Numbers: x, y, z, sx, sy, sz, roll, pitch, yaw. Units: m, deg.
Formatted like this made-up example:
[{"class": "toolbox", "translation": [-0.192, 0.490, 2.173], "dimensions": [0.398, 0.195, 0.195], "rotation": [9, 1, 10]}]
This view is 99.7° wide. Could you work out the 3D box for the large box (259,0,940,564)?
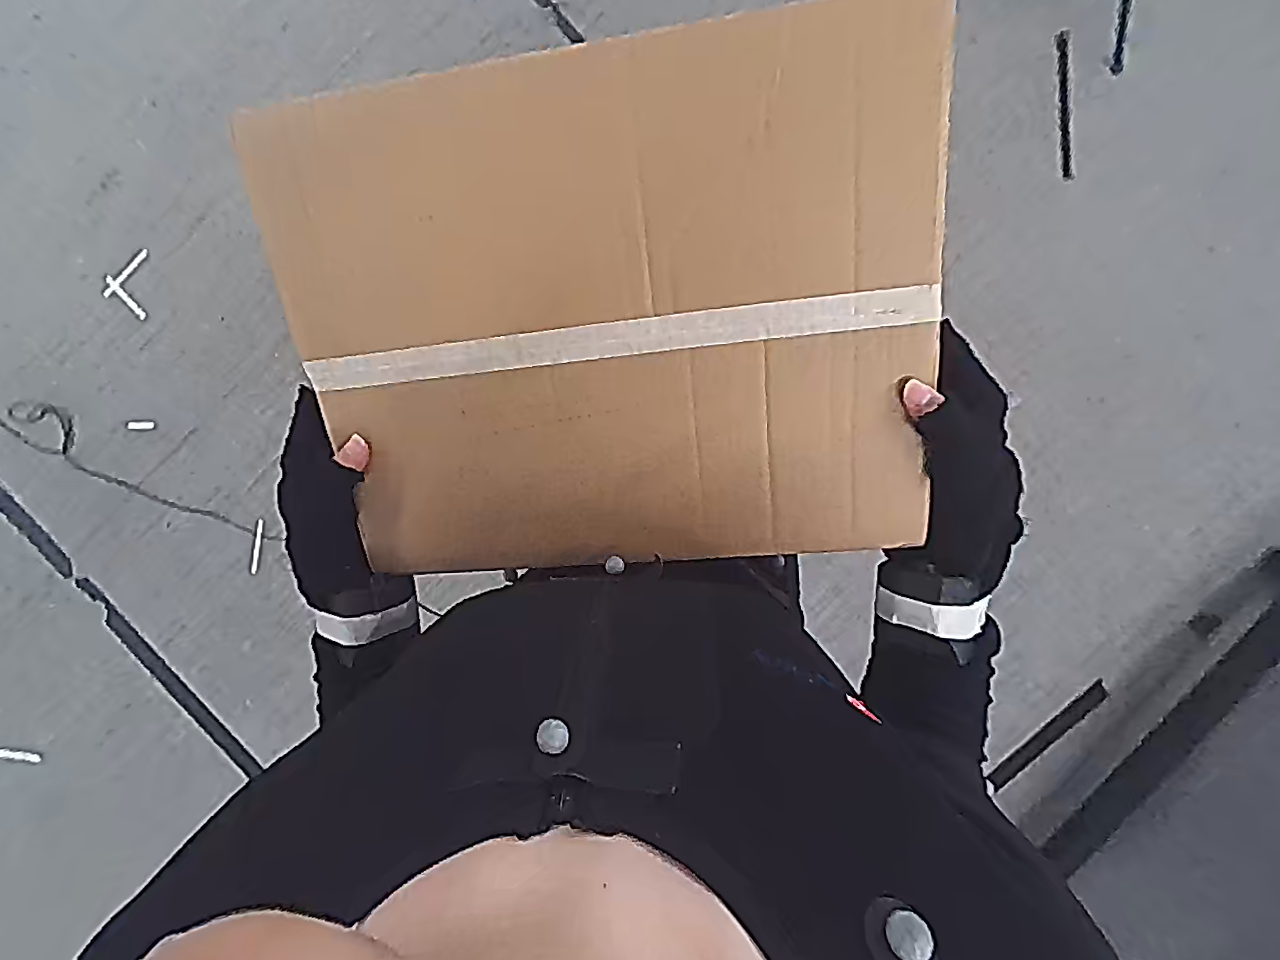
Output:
[{"class": "large box", "translation": [-0.009, -0.143, 0.491], "dimensions": [0.408, 0.320, 0.320], "rotation": [-4, 110, 8]}]
